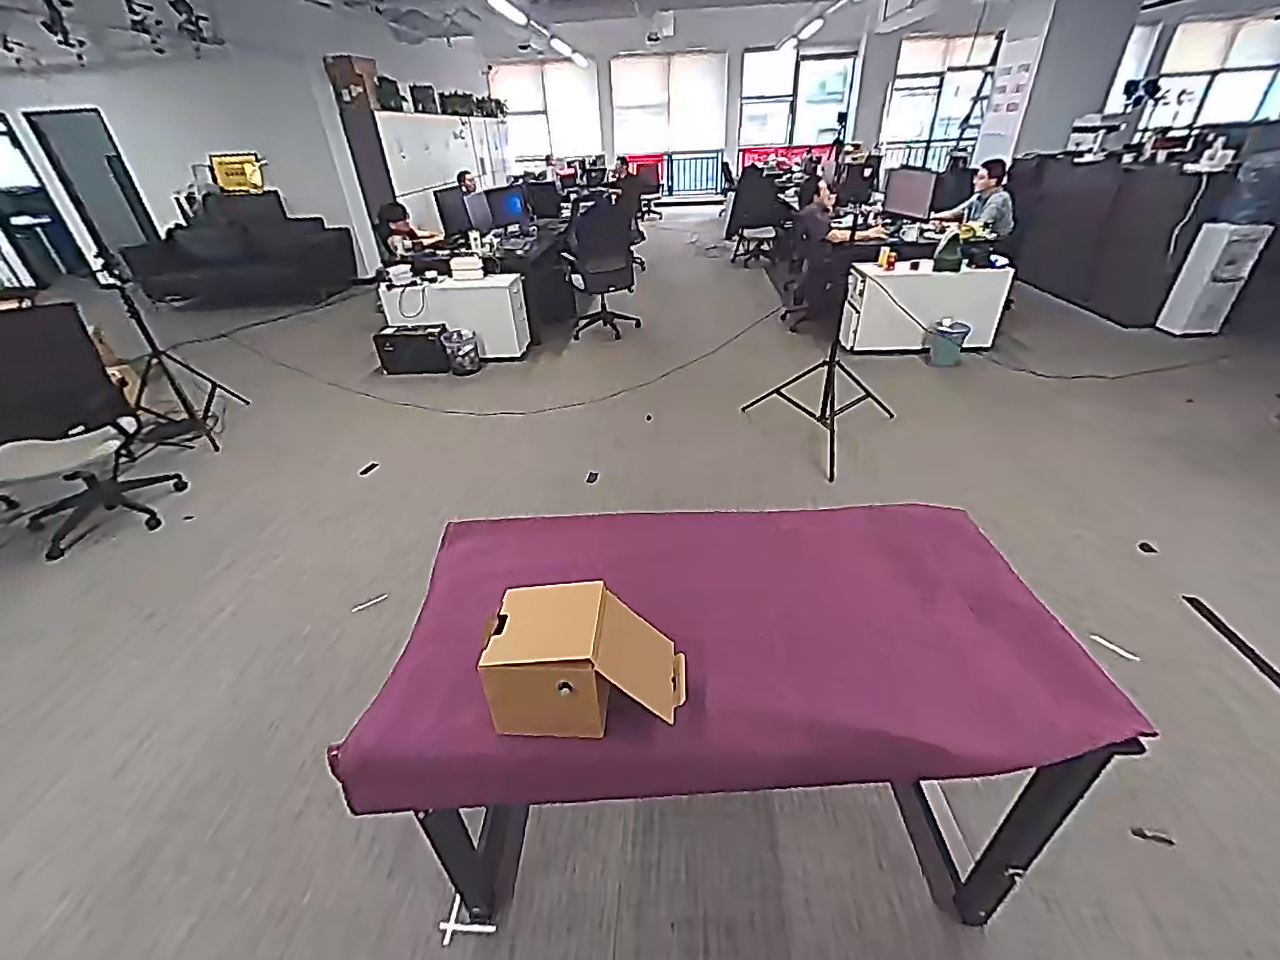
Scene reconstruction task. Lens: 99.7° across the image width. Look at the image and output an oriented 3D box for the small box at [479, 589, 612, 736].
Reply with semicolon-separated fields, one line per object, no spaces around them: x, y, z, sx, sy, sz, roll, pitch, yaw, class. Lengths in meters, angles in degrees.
-0.142;0.301;0.896;0.179;0.176;0.168;-1;31;5;small box
